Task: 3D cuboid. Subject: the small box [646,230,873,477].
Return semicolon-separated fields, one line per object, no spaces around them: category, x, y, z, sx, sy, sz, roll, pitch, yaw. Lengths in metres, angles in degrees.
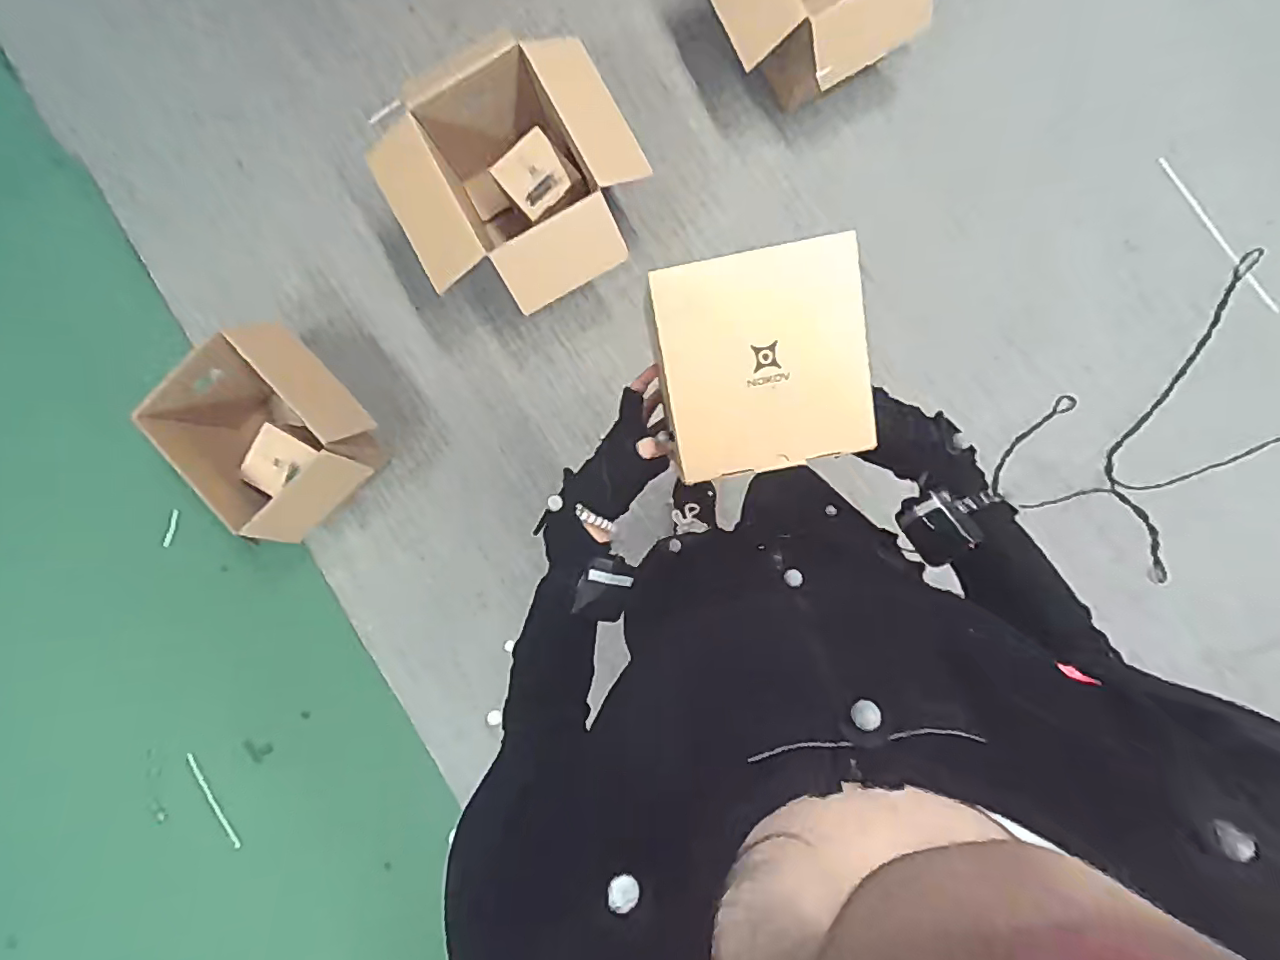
small box;0.100;-0.113;0.515;0.168;0.176;0.179;-10;101;2
